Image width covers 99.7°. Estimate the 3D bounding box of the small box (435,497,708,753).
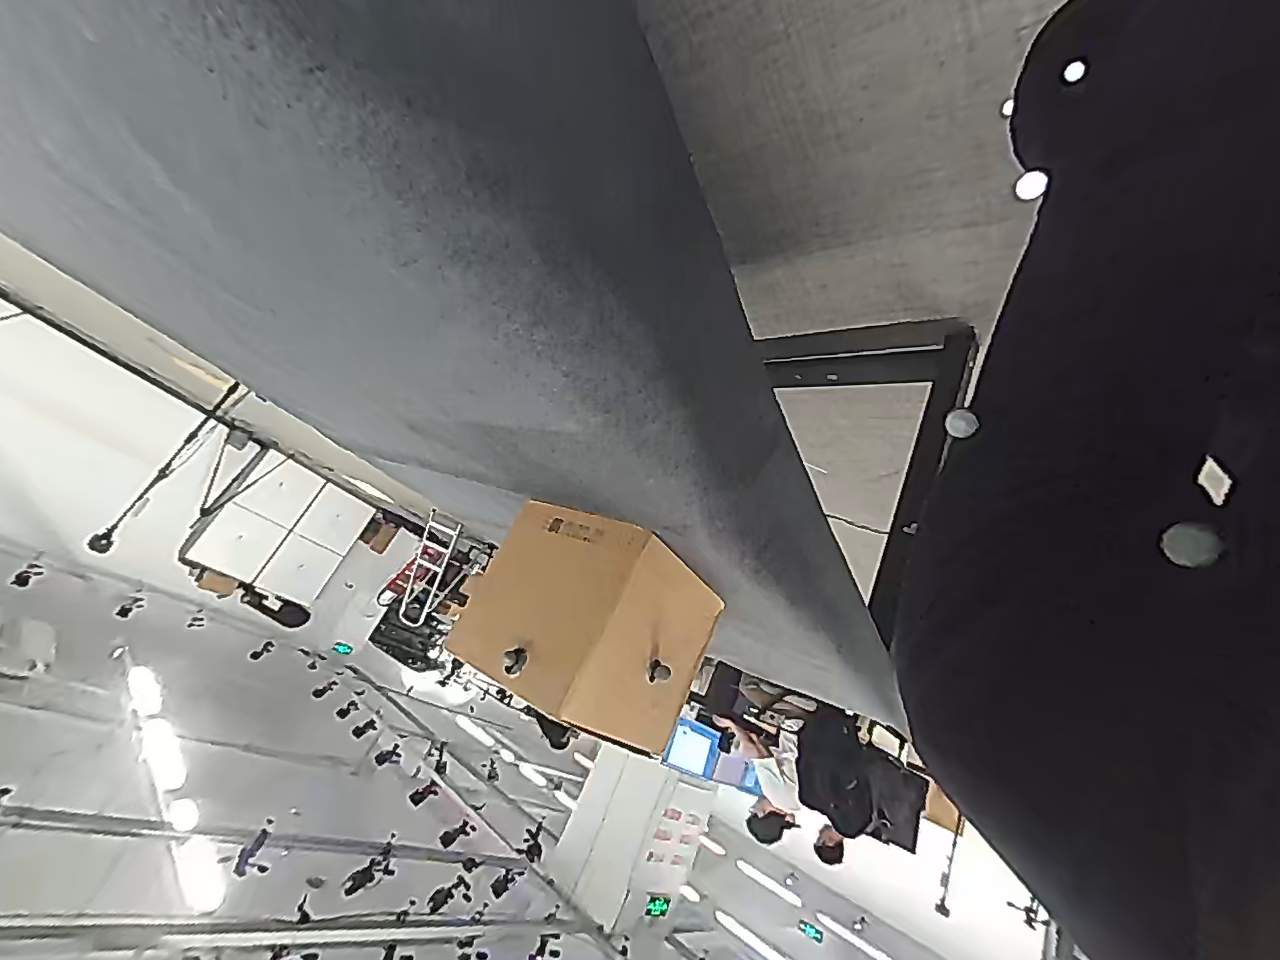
[{"bbox_3d":[-0.056,0.139,0.542,0.168,0.176,0.179,10,154,40],"label":"small box"}]
